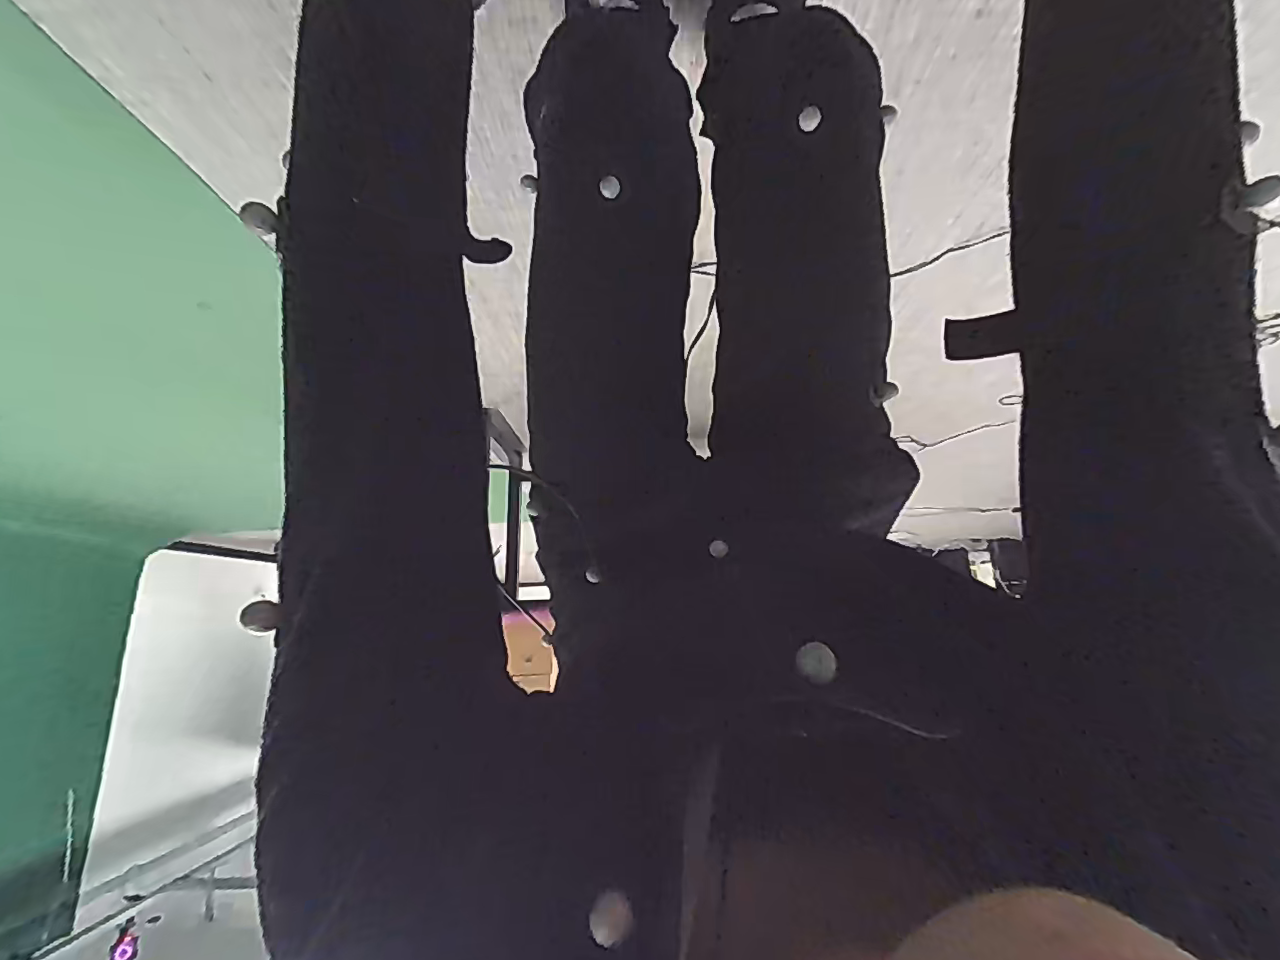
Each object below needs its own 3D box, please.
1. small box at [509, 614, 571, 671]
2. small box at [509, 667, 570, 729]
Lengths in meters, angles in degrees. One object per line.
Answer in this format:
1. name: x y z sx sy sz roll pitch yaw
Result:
1. small box: -0.326 0.538 1.793 0.179 0.176 0.168 -4 165 2
2. small box: -0.321 0.697 1.755 0.168 0.176 0.179 -4 166 1
